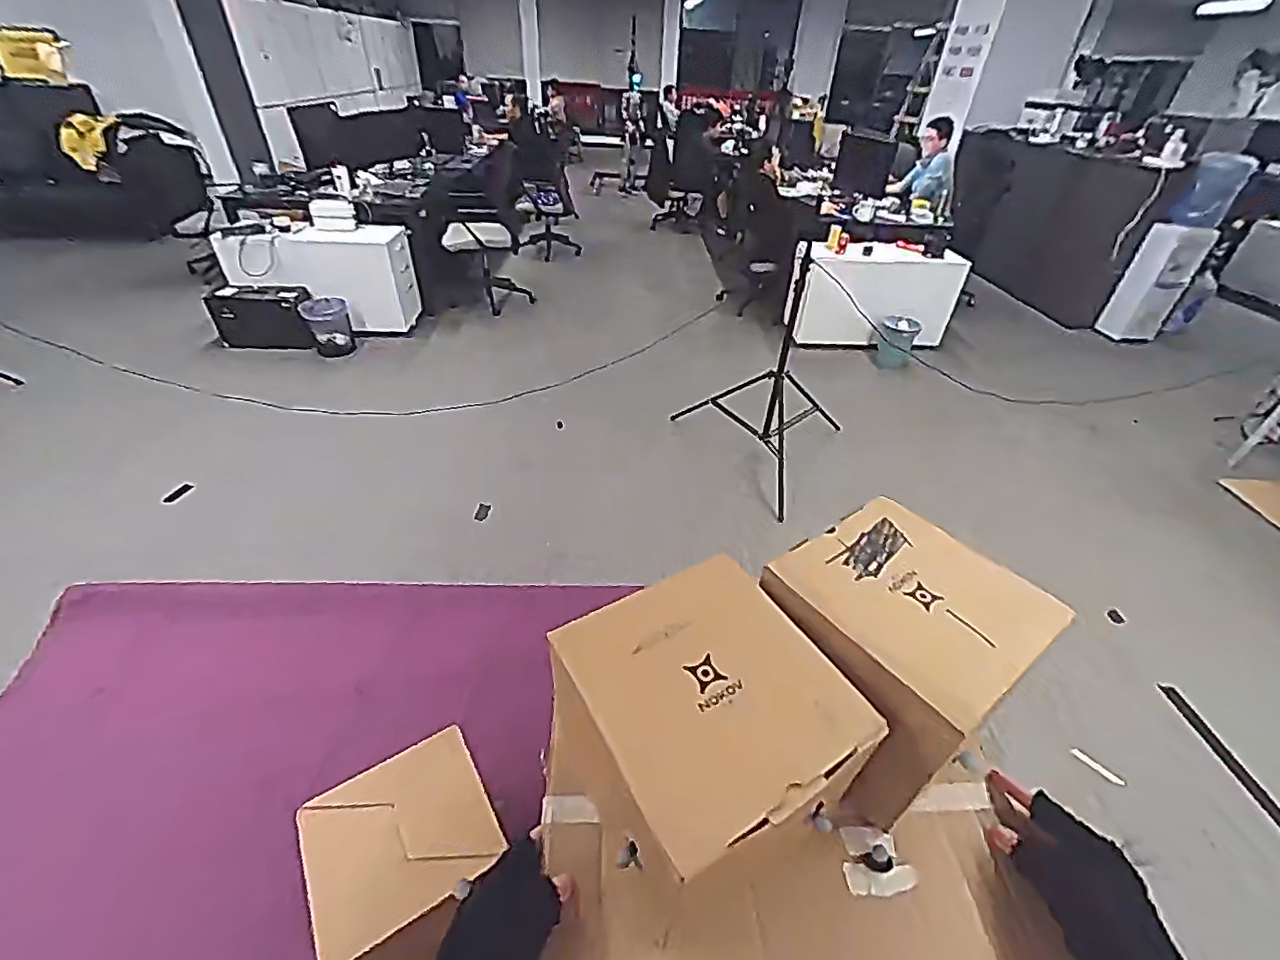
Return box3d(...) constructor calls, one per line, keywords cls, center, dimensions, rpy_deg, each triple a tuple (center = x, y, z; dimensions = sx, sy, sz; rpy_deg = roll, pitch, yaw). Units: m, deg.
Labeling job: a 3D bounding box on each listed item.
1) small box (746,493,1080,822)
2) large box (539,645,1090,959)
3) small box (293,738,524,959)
box3d(cls="small box", center=(0.214, 0.146, 0.471), dimensions=(0.168, 0.176, 0.179), rpy_deg=(-24, 45, -28))
box3d(cls="large box", center=(0.115, 0.390, 0.558), dimensions=(0.408, 0.320, 0.320), rpy_deg=(0, 41, -3))
box3d(cls="small box", center=(-0.250, 0.423, 0.602), dimensions=(0.179, 0.176, 0.168), rpy_deg=(-21, 42, -25))
